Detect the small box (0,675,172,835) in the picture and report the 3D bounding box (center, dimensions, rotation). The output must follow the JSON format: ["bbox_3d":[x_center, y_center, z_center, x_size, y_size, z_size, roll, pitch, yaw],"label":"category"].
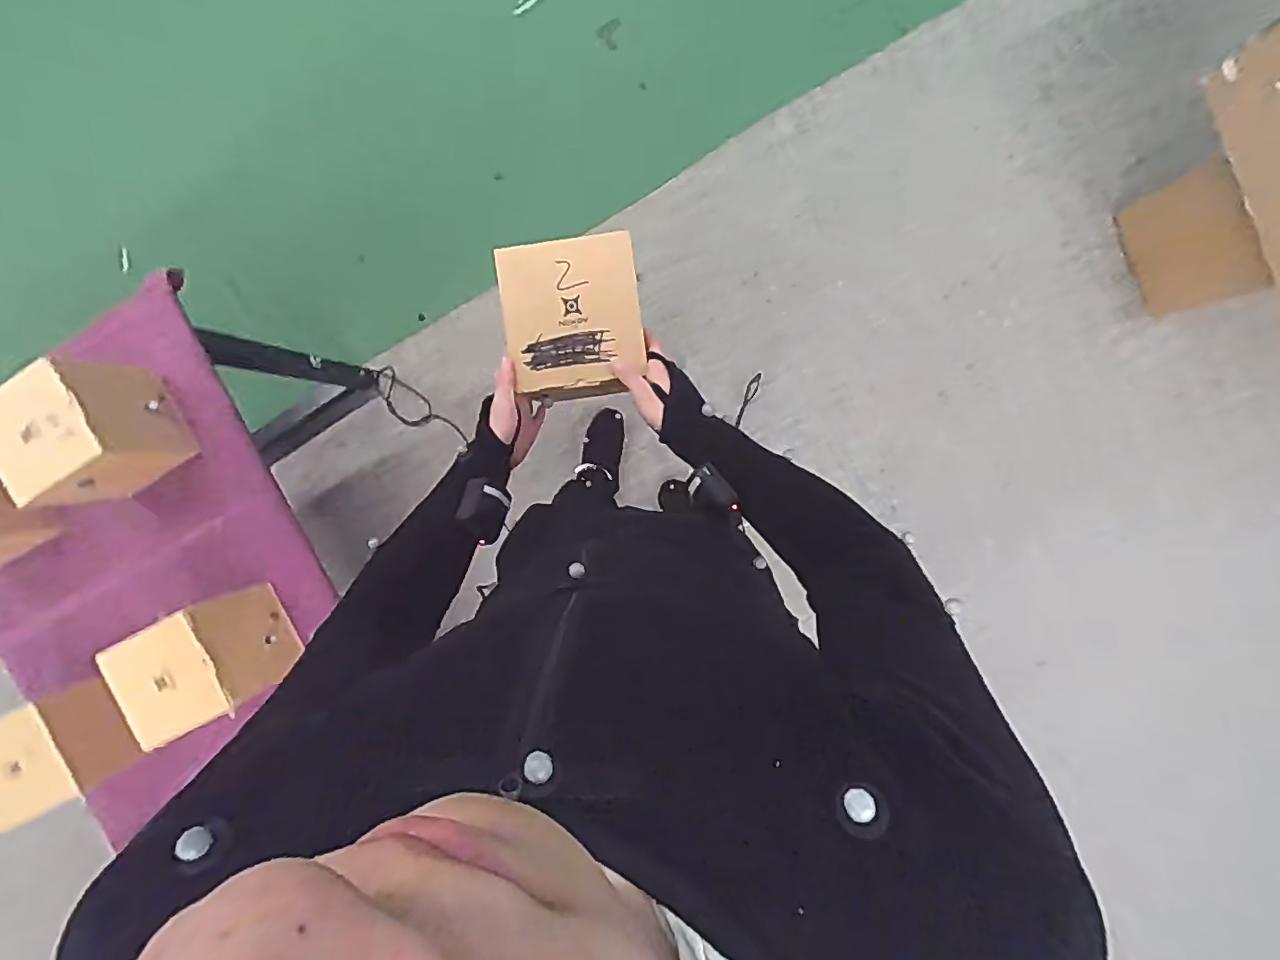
[{"bbox_3d":[-0.973,0.454,0.933,0.179,0.176,0.168,-26,93,5],"label":"small box"}]

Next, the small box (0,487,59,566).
[{"bbox_3d":[-1.171,0.067,0.914,0.179,0.176,0.168,-28,93,6],"label":"small box"}]

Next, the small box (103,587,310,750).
[{"bbox_3d":[-0.707,0.303,0.902,0.179,0.176,0.168,-28,92,6],"label":"small box"}]

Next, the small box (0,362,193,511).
[{"bbox_3d":[-0.900,-0.070,0.881,0.179,0.176,0.168,-30,94,6],"label":"small box"}]
